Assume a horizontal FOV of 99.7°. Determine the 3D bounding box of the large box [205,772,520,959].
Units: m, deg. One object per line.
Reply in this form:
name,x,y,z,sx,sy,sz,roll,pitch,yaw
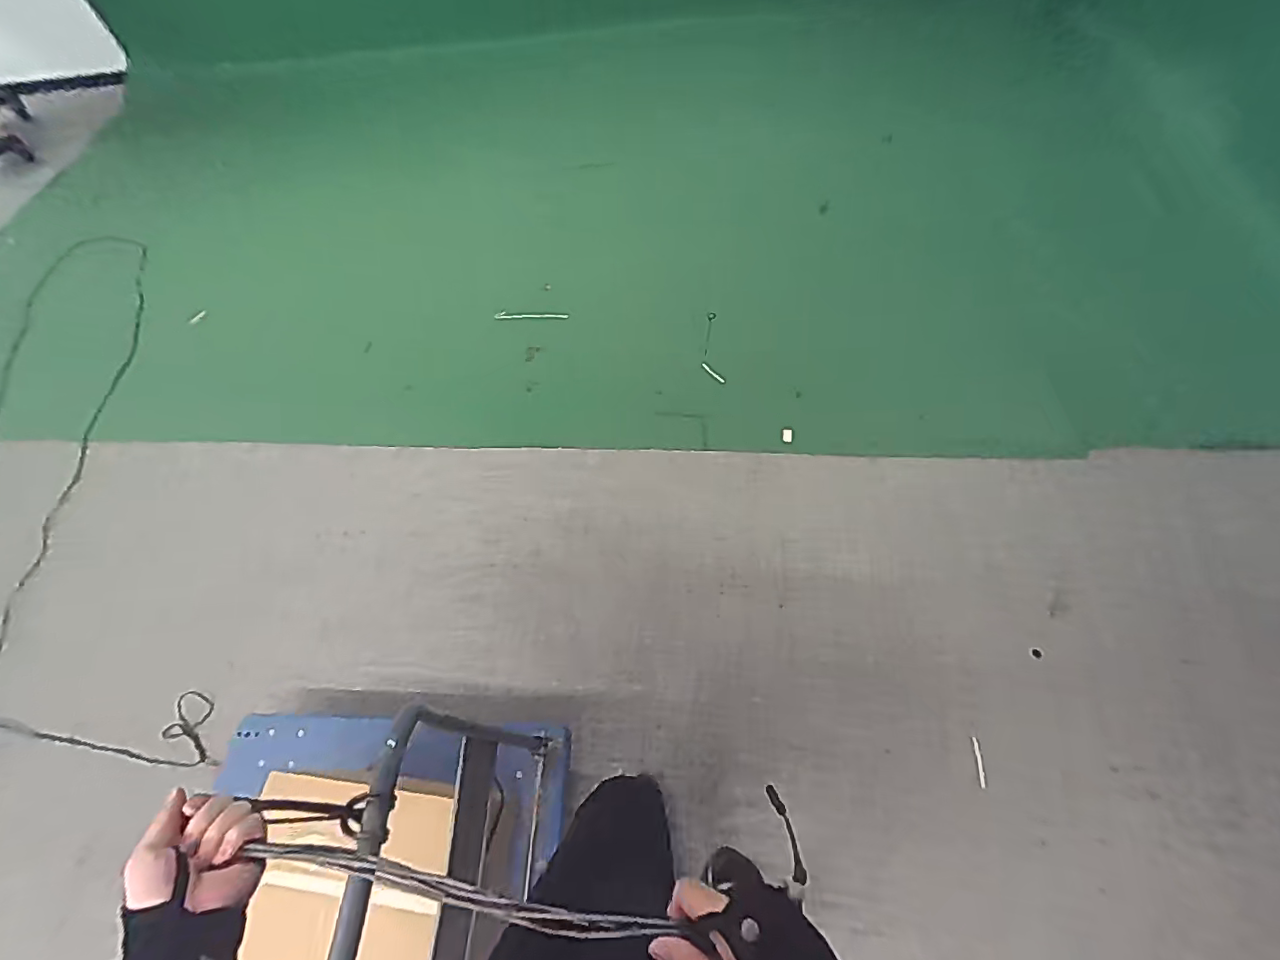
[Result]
large box,-0.493,0.765,1.050,0.408,0.320,0.320,3,62,10
